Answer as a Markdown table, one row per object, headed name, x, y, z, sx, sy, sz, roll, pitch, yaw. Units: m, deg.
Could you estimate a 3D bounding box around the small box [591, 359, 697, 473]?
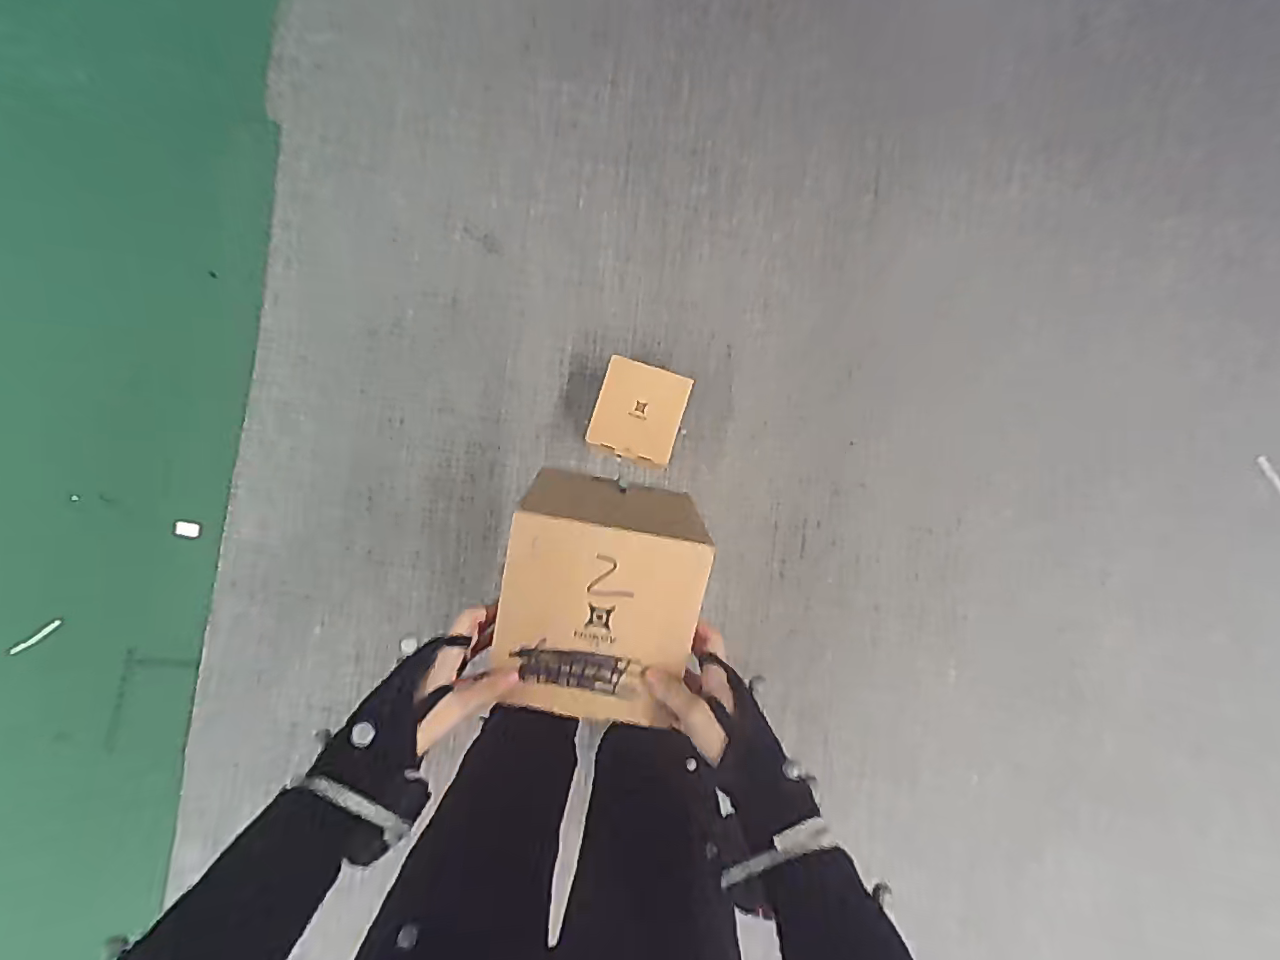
| name | x | y | z | sx | sy | sz | roll | pitch | yaw |
| --- | --- | --- | --- | --- | --- | --- | --- | --- | --- |
| small box | 0.003 | -0.122 | 1.113 | 0.168 | 0.176 | 0.179 | 18 | 87 | -1 |
